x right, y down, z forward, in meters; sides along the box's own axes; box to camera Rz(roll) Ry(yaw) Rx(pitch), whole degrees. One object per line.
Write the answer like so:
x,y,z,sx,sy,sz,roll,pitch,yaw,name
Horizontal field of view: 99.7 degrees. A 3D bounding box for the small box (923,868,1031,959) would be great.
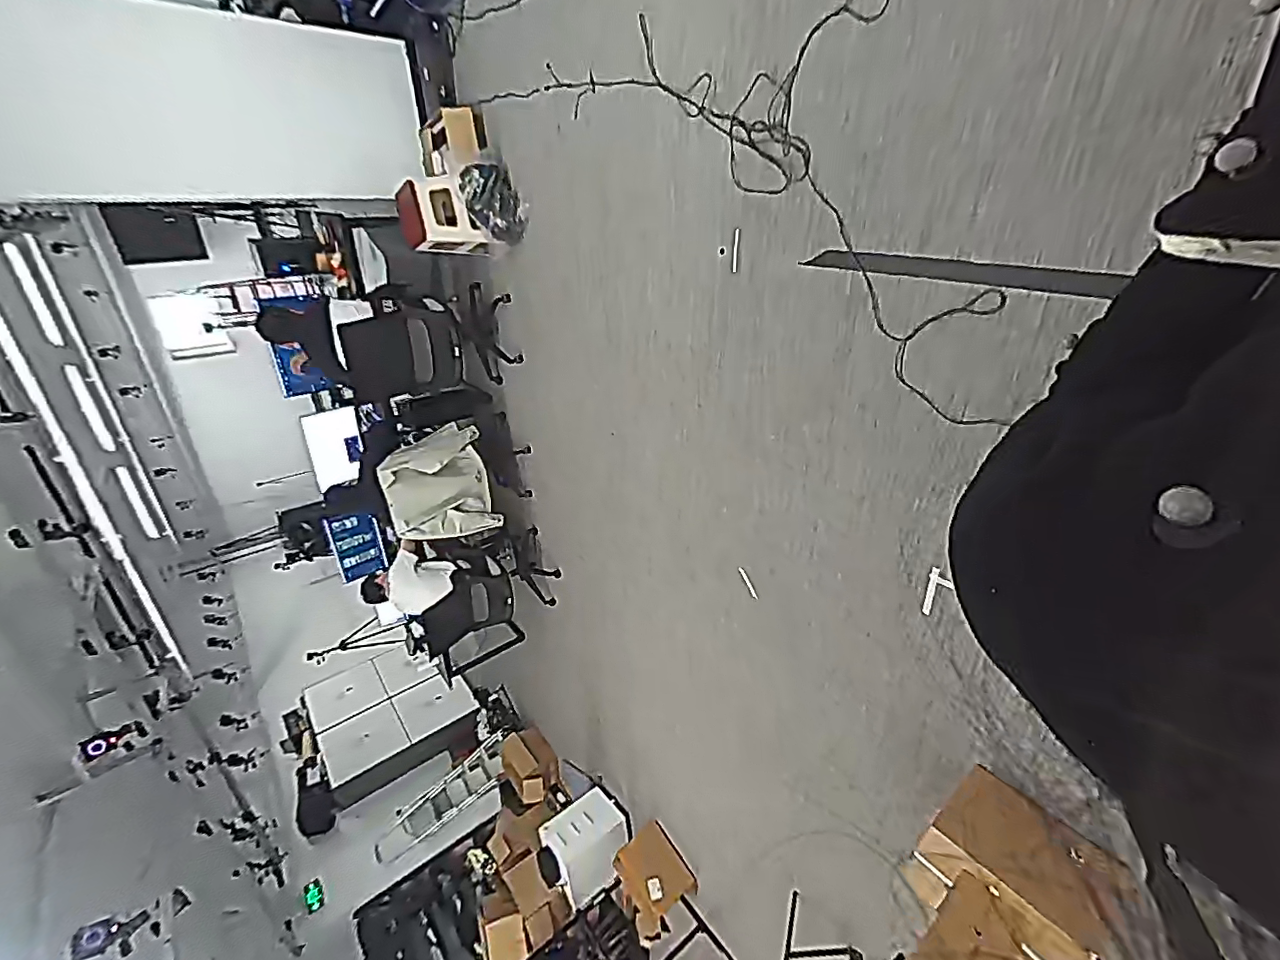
0.896,1.195,1.438,0.179,0.176,0.168,30,129,45,small box
